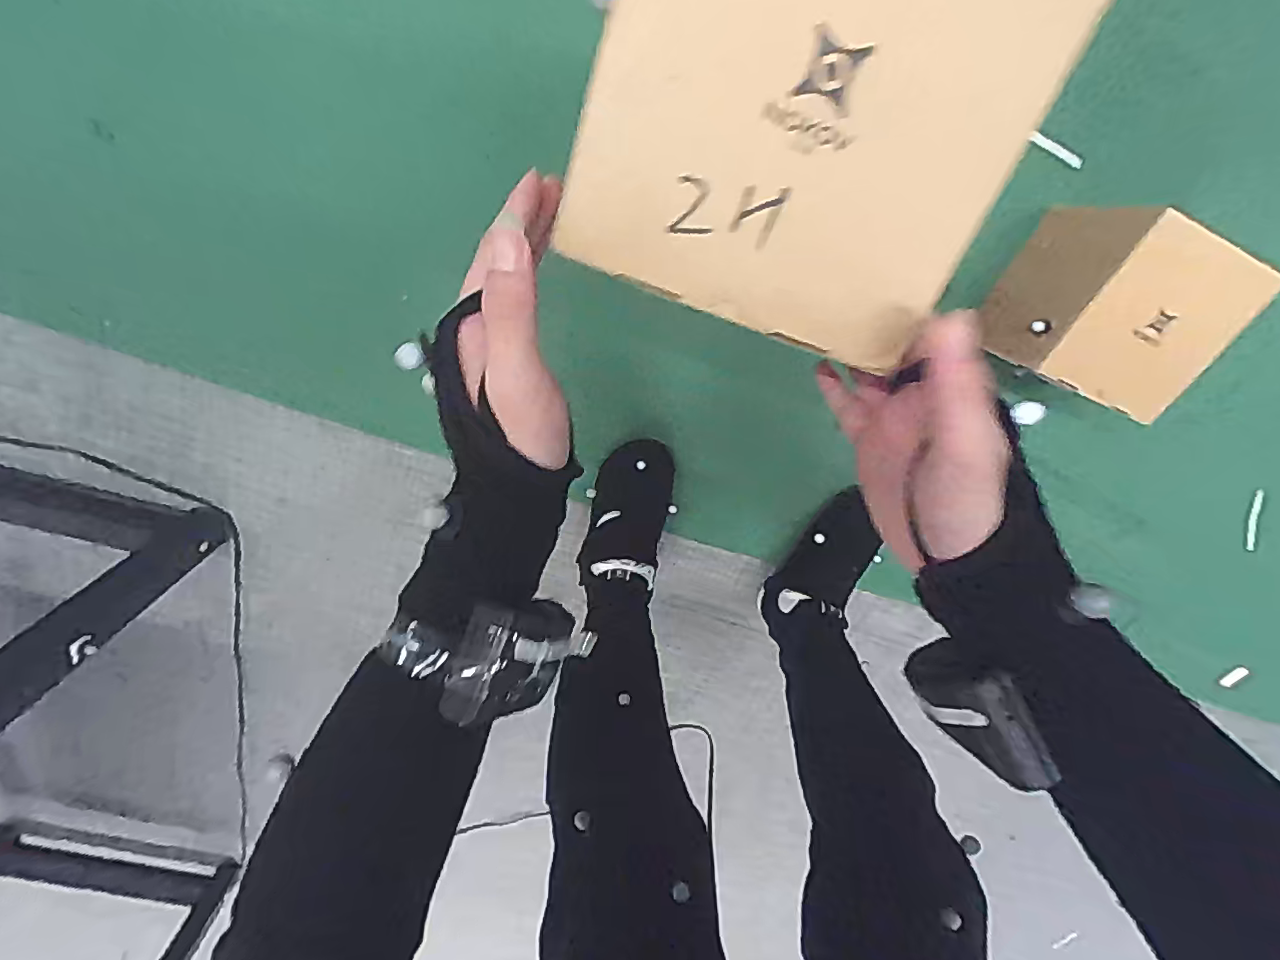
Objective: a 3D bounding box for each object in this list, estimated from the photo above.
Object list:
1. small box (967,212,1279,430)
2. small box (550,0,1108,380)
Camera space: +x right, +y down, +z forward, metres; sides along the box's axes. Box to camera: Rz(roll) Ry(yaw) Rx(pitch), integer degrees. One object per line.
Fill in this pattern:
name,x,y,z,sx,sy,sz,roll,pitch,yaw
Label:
small box,0.534,-0.193,0.631,0.168,0.176,0.179,21,118,-11
small box,0.066,-0.180,0.274,0.168,0.176,0.179,18,117,-8
